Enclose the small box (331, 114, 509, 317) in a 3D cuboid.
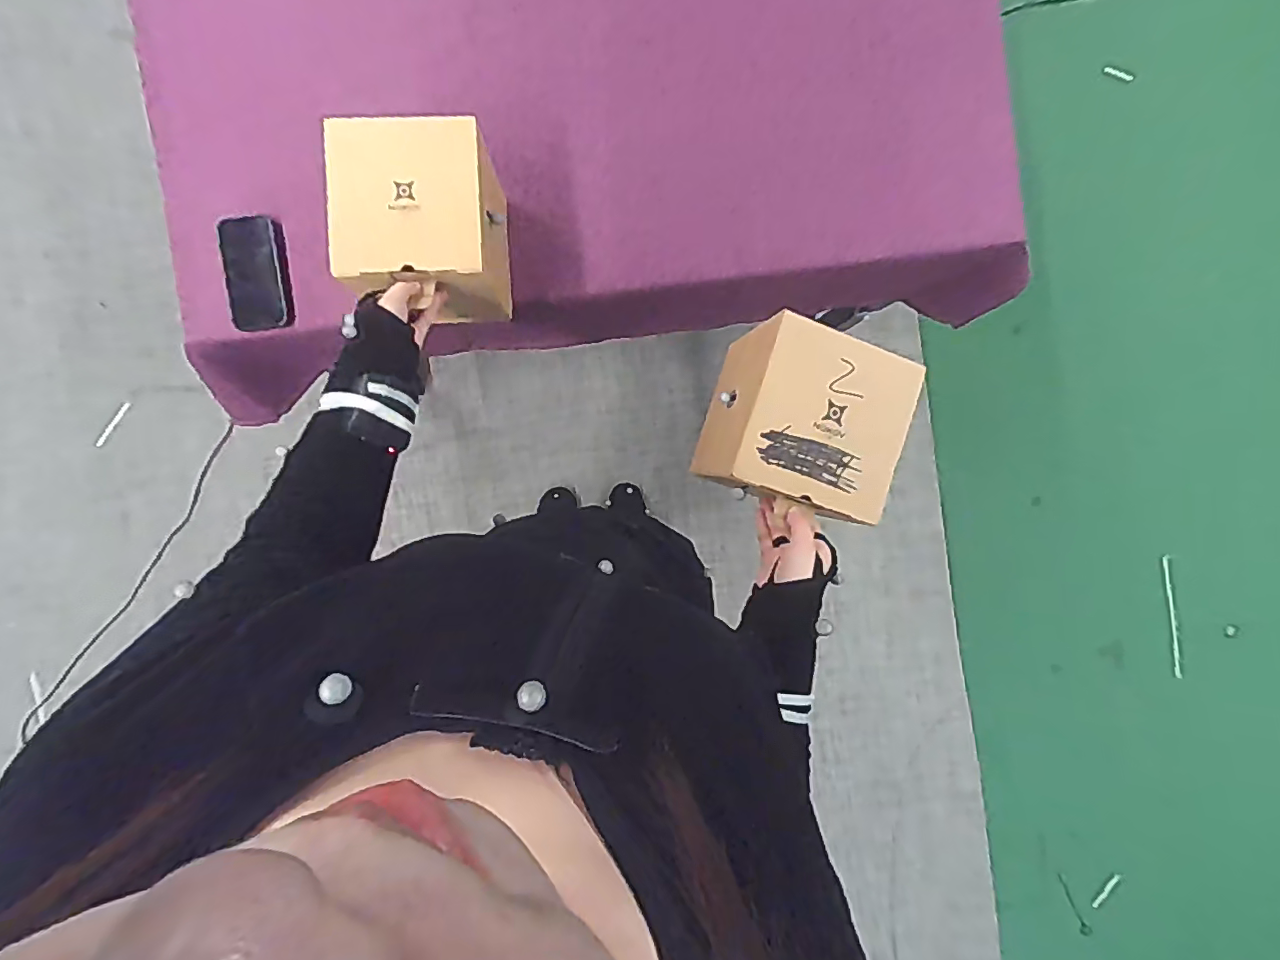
[{"bbox_3d":[-0.262,-0.317,0.678,0.168,0.176,0.179,-3,89,-4],"label":"small box"}]
